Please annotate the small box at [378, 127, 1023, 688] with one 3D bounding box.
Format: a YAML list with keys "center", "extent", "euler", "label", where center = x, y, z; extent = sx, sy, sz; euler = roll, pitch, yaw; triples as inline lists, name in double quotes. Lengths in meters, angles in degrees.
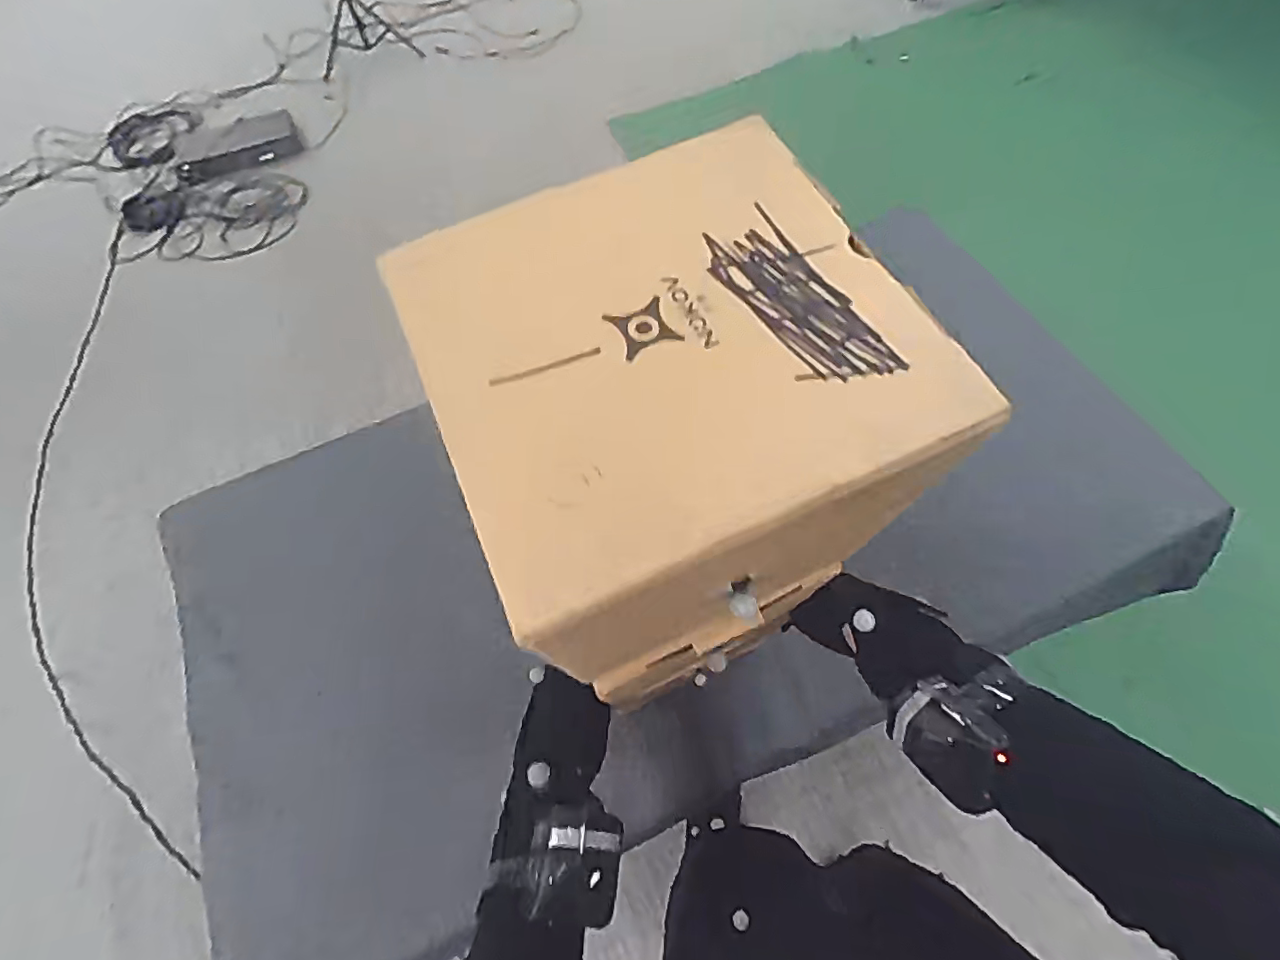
- center: [0.014, -0.019, 0.261]
  extent: [0.179, 0.176, 0.168]
  euler: [-26, 68, -11]
  label: "small box"

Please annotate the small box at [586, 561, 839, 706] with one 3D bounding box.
- center: [0.013, 0.050, 0.412]
  extent: [0.168, 0.176, 0.179]
  euler: [-25, 69, -9]
  label: "small box"
